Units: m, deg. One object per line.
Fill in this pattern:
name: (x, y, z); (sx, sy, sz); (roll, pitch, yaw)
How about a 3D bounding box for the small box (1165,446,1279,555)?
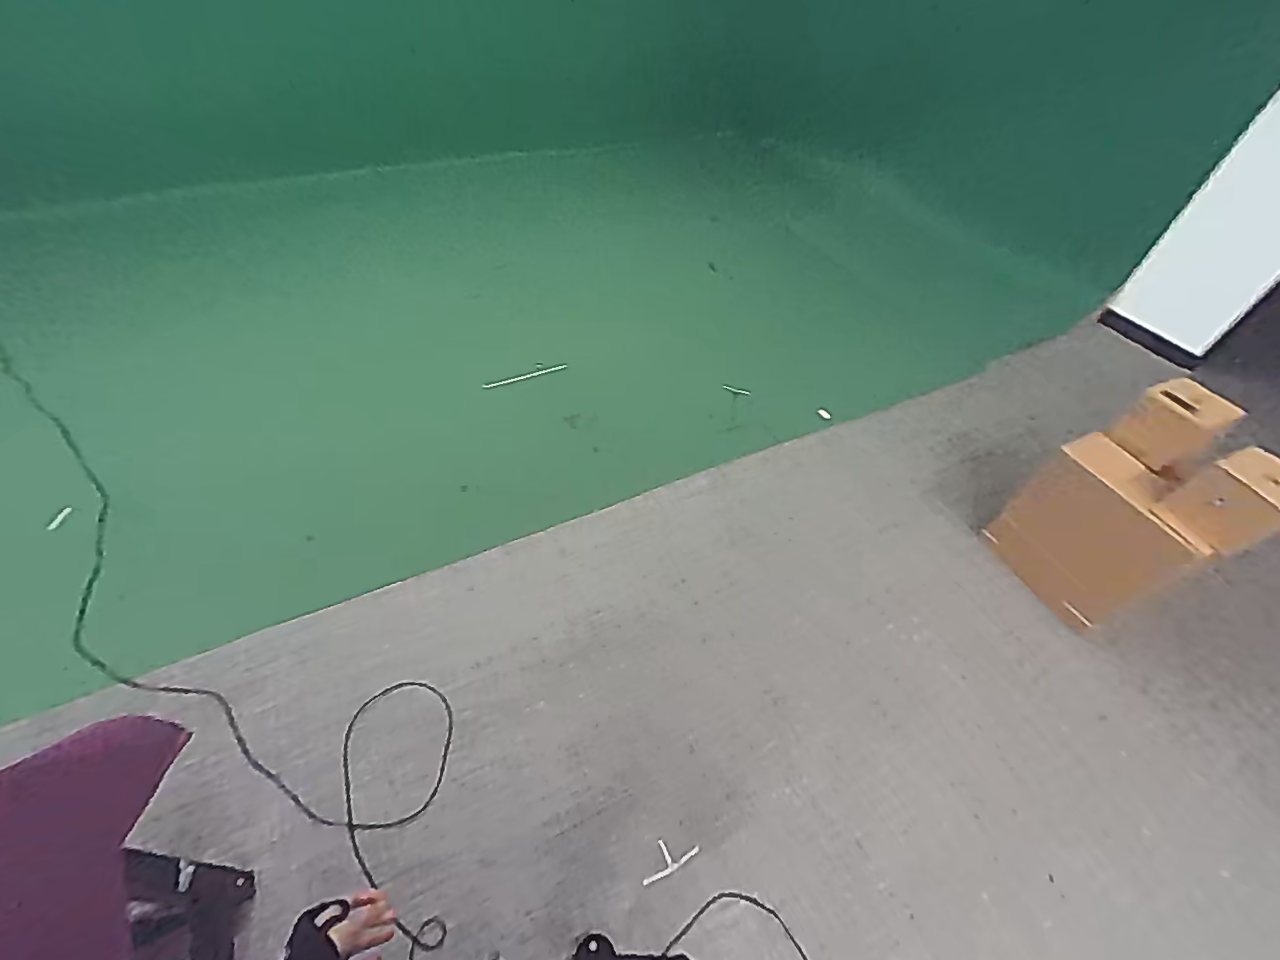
small box: (1.455, 0.051, 1.310); (0.168, 0.176, 0.179); (-18, 53, -15)
